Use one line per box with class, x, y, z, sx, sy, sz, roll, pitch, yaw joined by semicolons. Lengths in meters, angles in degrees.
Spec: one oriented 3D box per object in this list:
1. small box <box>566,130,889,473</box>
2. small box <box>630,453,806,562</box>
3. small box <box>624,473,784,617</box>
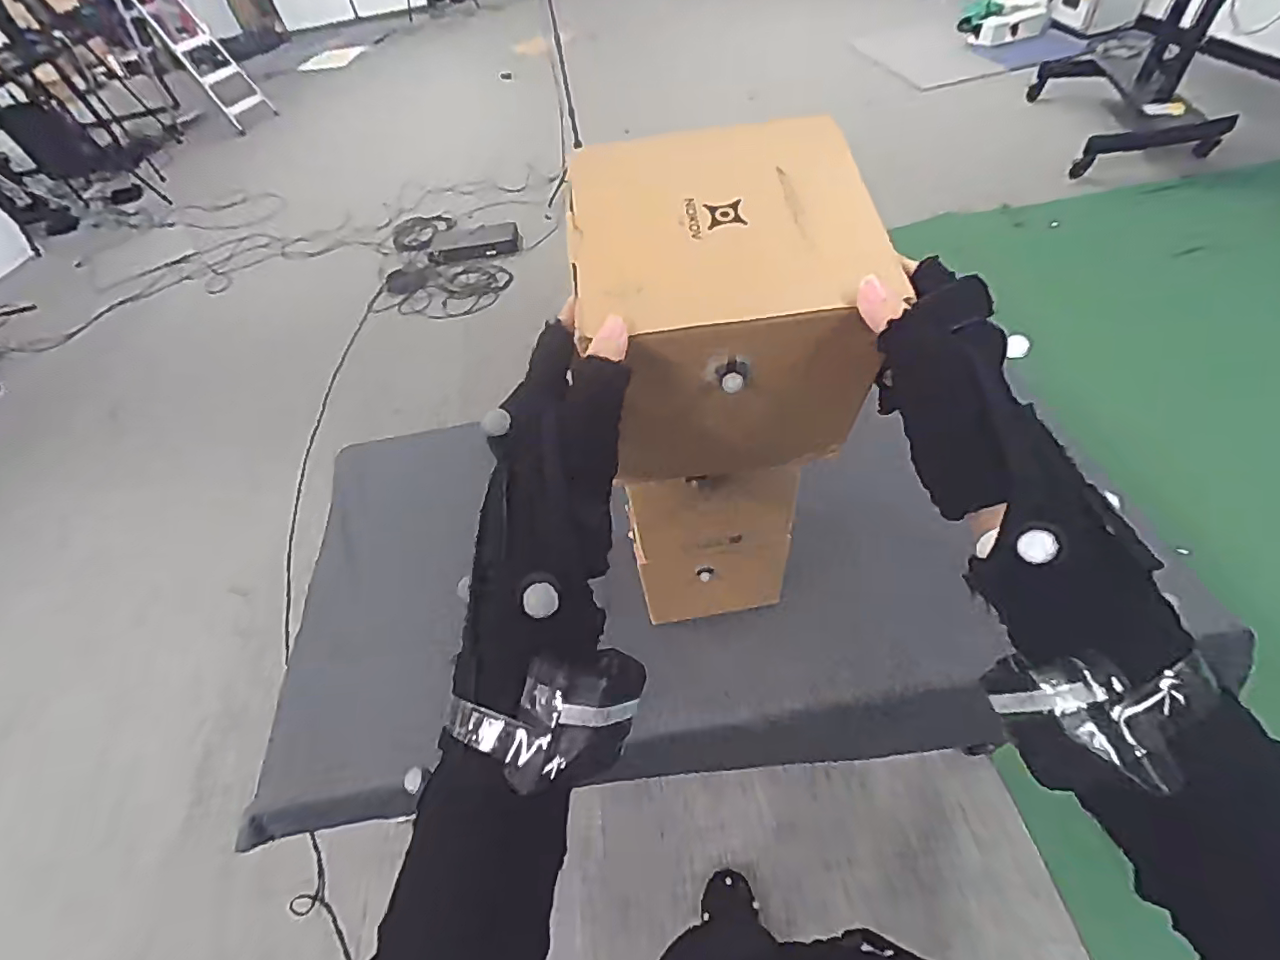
small box;0.049;-0.117;0.399;0.179;0.176;0.168;-7;62;1
small box;0.069;-0.033;0.608;0.168;0.176;0.179;-10;52;-1
small box;0.083;0.070;0.731;0.179;0.176;0.168;-10;51;1
